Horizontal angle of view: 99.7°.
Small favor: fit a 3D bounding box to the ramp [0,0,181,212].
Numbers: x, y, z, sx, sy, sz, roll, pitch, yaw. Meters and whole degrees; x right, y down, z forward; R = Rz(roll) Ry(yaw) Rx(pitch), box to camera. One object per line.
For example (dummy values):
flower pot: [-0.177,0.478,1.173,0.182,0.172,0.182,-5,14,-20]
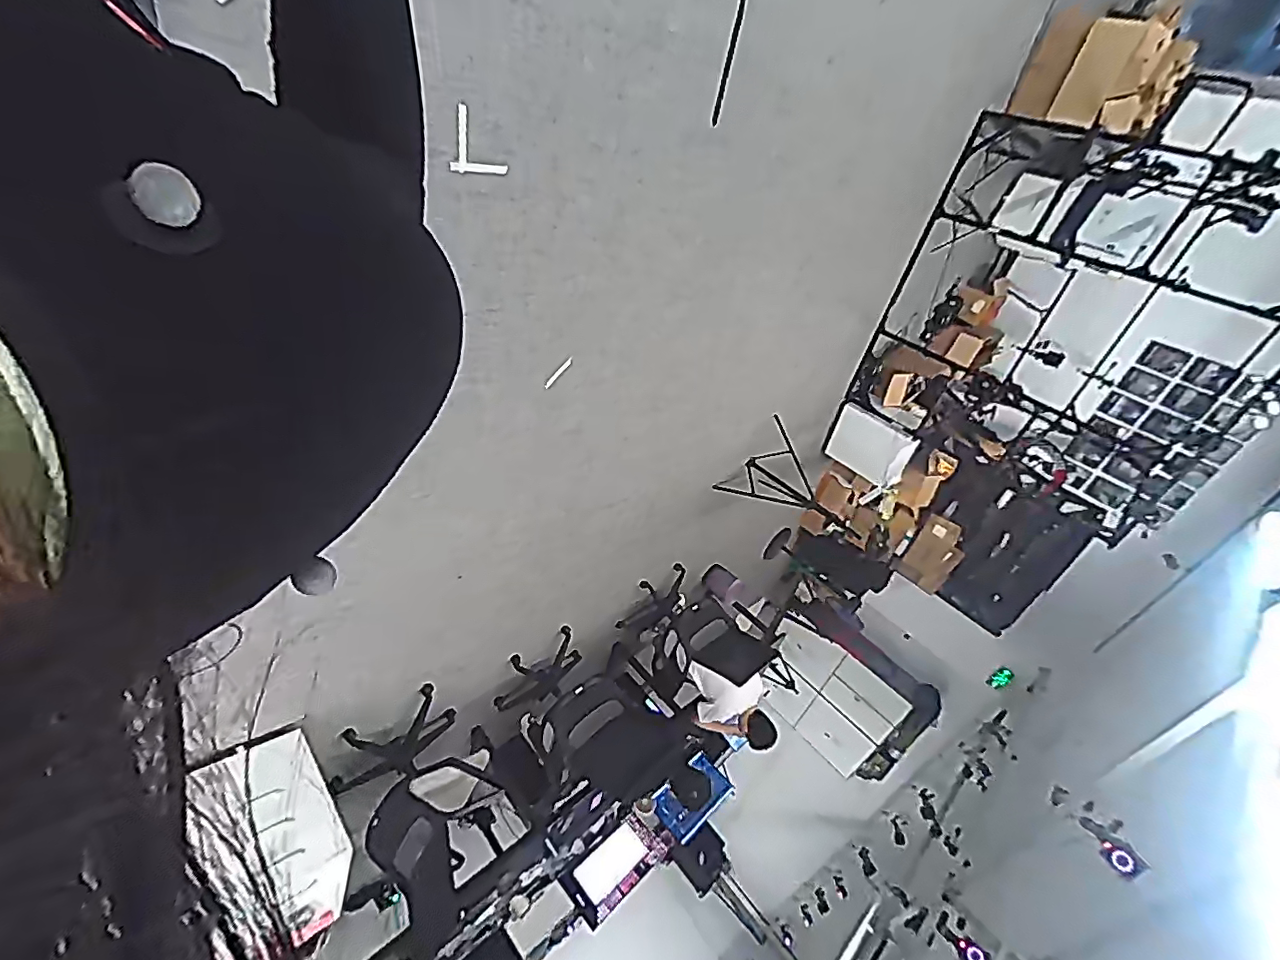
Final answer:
ramp: [-0.983,-0.849,0.680,0.509,0.206,0.991,-23,141,-40]
